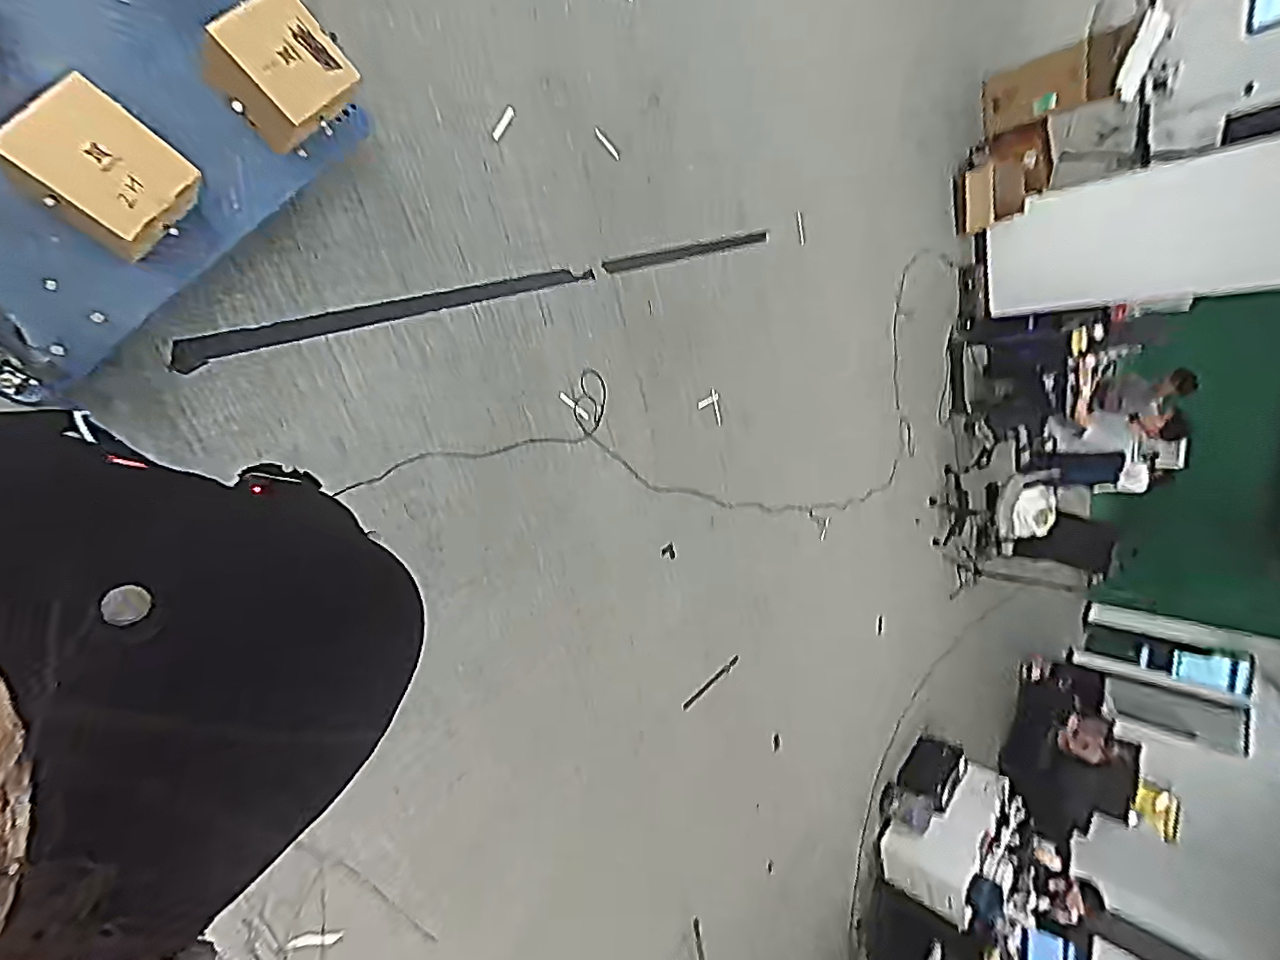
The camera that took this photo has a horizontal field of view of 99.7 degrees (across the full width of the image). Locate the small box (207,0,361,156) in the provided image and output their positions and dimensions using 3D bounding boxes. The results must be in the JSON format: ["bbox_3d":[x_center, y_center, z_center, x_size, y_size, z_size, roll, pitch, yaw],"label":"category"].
[{"bbox_3d":[-0.672,-0.756,1.017,0.168,0.176,0.179,49,65,-35],"label":"small box"}]

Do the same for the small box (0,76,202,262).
[{"bbox_3d":[-0.863,-0.486,0.876,0.179,0.176,0.168,42,67,-37],"label":"small box"}]
